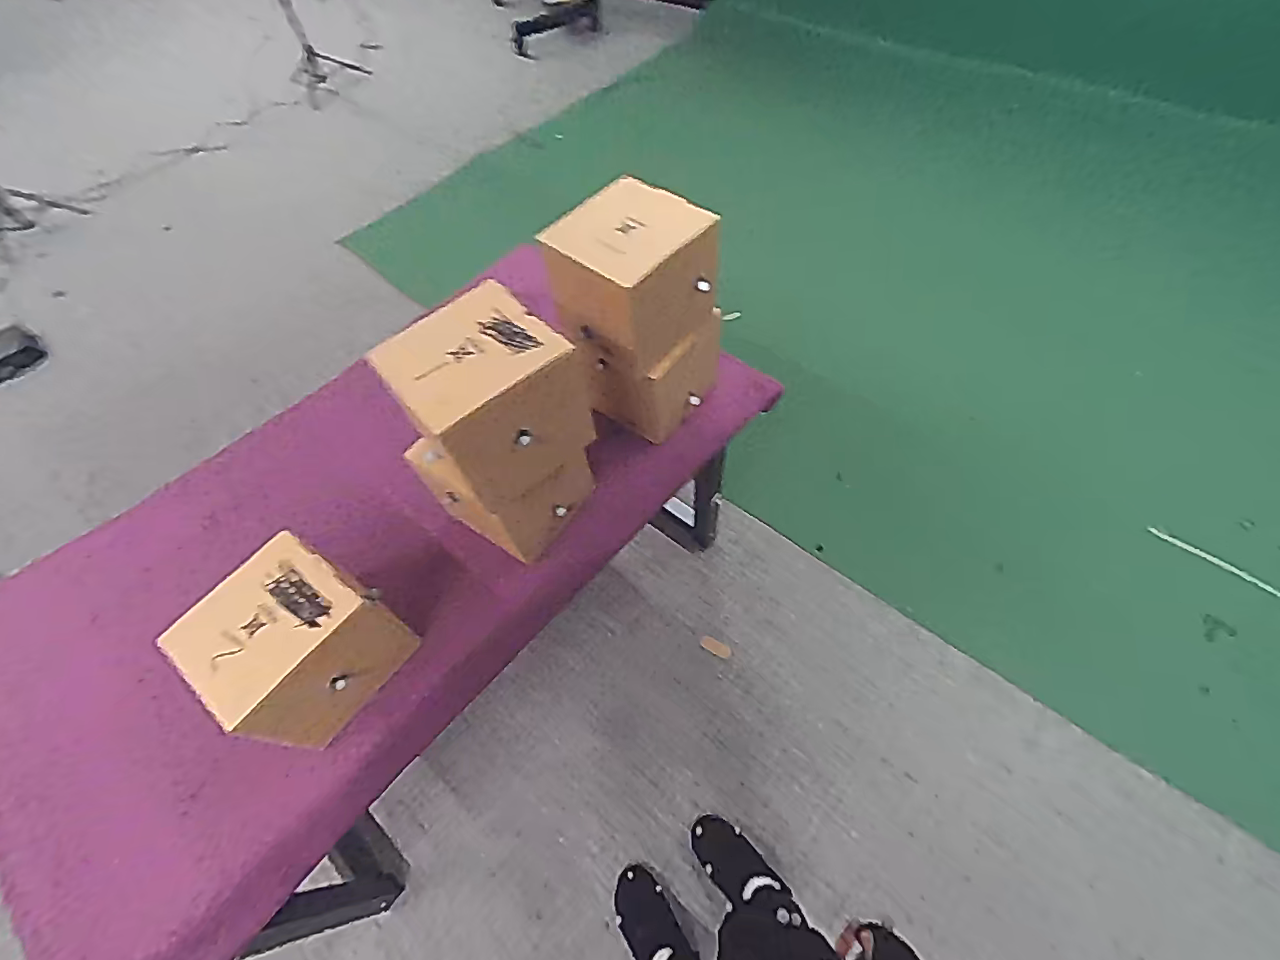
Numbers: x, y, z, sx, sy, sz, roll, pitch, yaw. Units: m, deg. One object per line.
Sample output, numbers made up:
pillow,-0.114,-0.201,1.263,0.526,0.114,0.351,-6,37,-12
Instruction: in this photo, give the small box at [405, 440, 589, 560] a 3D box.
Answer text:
small box,-0.199,-0.008,0.801,0.179,0.176,0.168,28,65,21

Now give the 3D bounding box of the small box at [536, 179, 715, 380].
small box,-0.015,-0.277,0.760,0.168,0.176,0.179,36,68,24

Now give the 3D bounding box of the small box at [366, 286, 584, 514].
small box,-0.184,-0.094,0.659,0.179,0.176,0.168,-39,62,-17

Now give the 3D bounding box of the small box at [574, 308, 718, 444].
small box,0.011,-0.195,0.900,0.168,0.176,0.179,31,66,22
